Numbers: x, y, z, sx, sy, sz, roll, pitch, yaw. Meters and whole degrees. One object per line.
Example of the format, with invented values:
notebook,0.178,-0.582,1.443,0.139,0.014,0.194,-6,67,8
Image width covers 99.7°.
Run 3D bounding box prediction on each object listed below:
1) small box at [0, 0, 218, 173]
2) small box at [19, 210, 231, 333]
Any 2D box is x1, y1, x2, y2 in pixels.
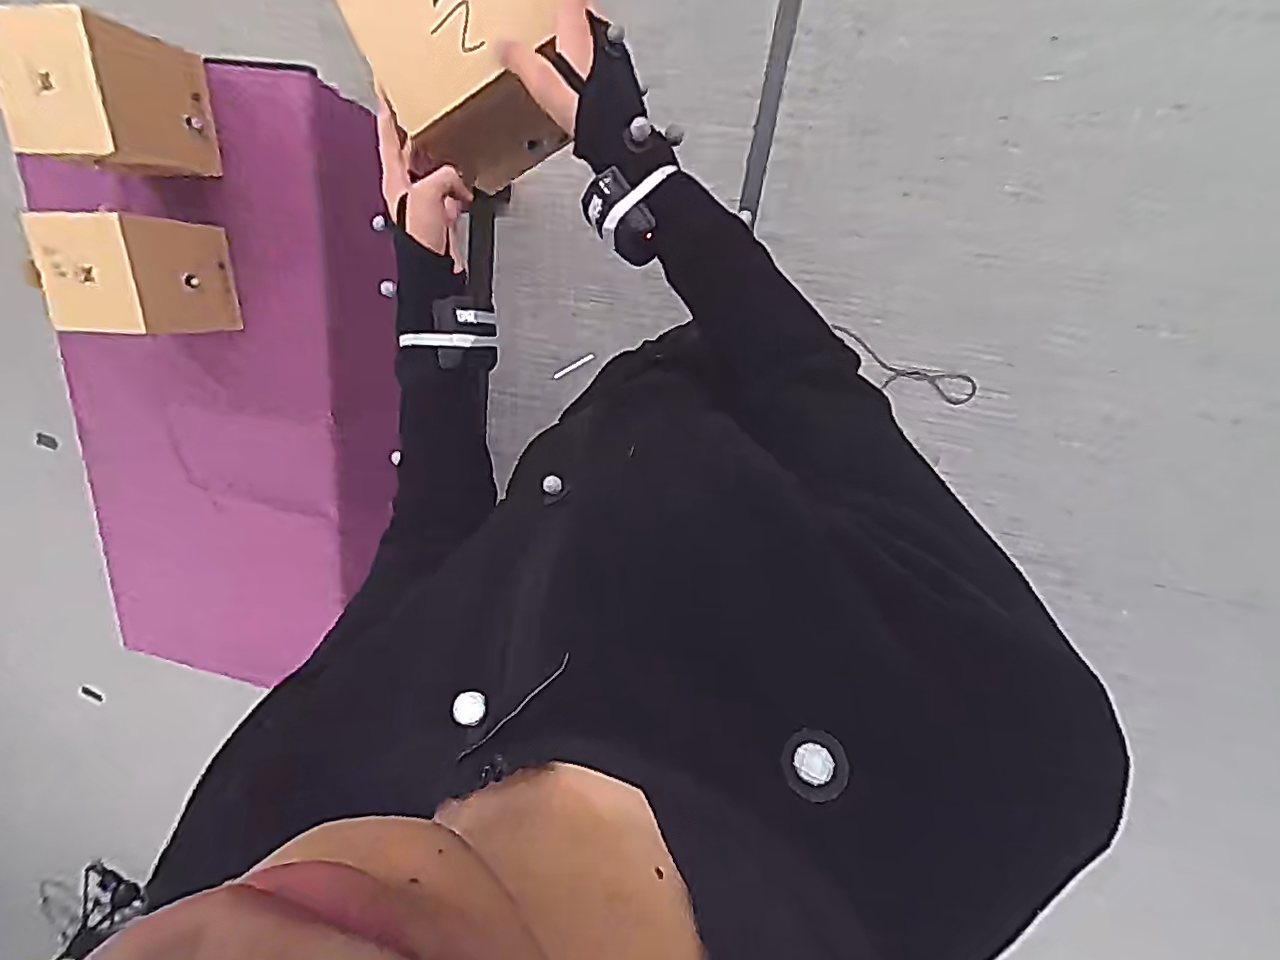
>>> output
small box,-0.770,-0.553,0.782,0.179,0.176,0.168,8,111,10
small box,-0.798,-0.329,0.864,0.179,0.176,0.168,6,109,11
